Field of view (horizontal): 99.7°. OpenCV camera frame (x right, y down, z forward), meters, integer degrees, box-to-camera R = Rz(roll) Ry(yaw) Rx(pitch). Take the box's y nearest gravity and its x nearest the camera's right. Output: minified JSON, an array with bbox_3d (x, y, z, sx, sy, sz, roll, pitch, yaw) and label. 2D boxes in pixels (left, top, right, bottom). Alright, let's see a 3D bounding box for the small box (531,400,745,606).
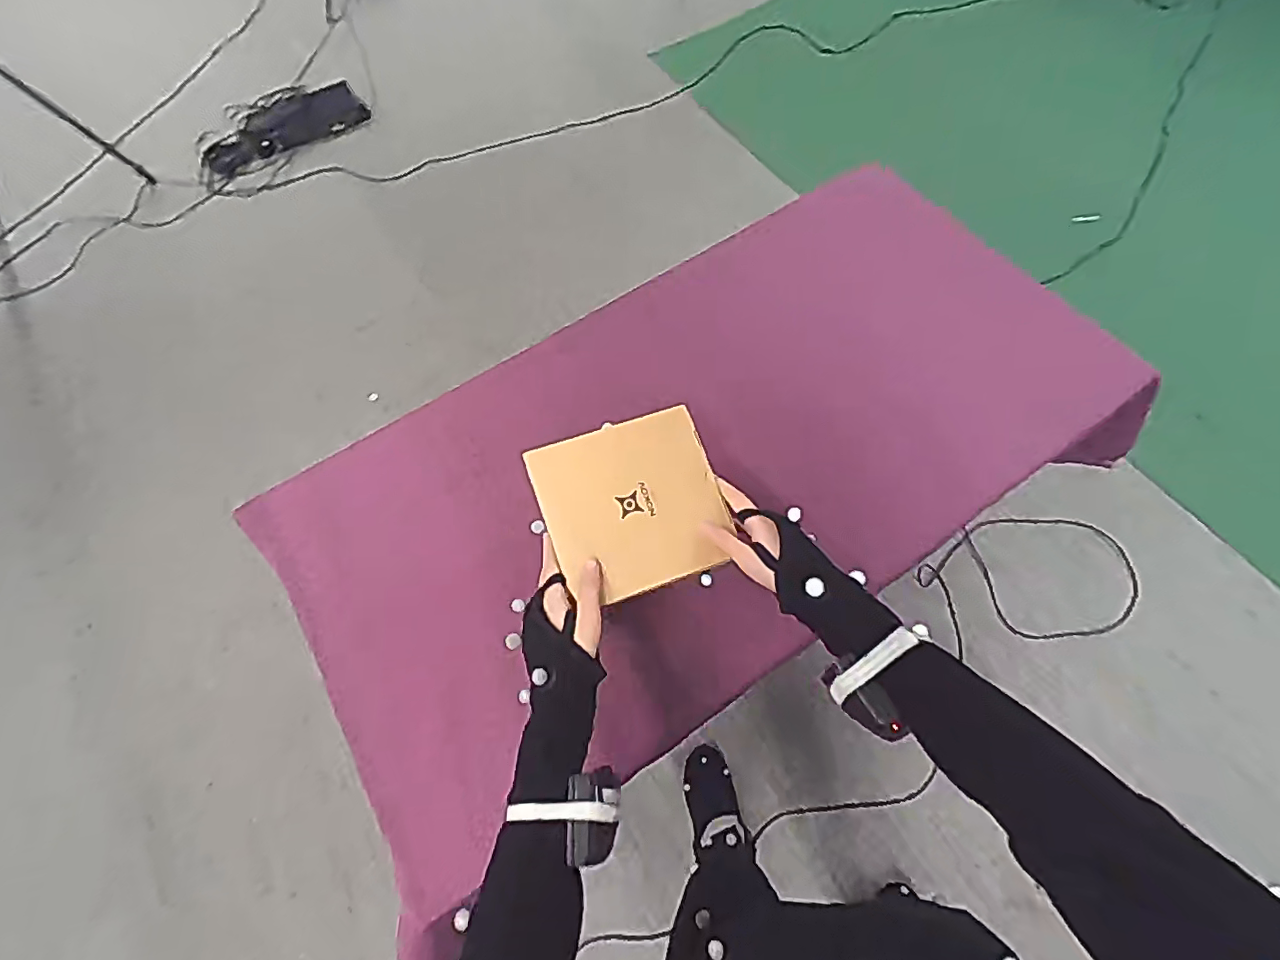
[{"bbox_3d":[-0.010,0.036,0.614,0.179,0.176,0.168,-18,77,-11],"label":"small box"}]
